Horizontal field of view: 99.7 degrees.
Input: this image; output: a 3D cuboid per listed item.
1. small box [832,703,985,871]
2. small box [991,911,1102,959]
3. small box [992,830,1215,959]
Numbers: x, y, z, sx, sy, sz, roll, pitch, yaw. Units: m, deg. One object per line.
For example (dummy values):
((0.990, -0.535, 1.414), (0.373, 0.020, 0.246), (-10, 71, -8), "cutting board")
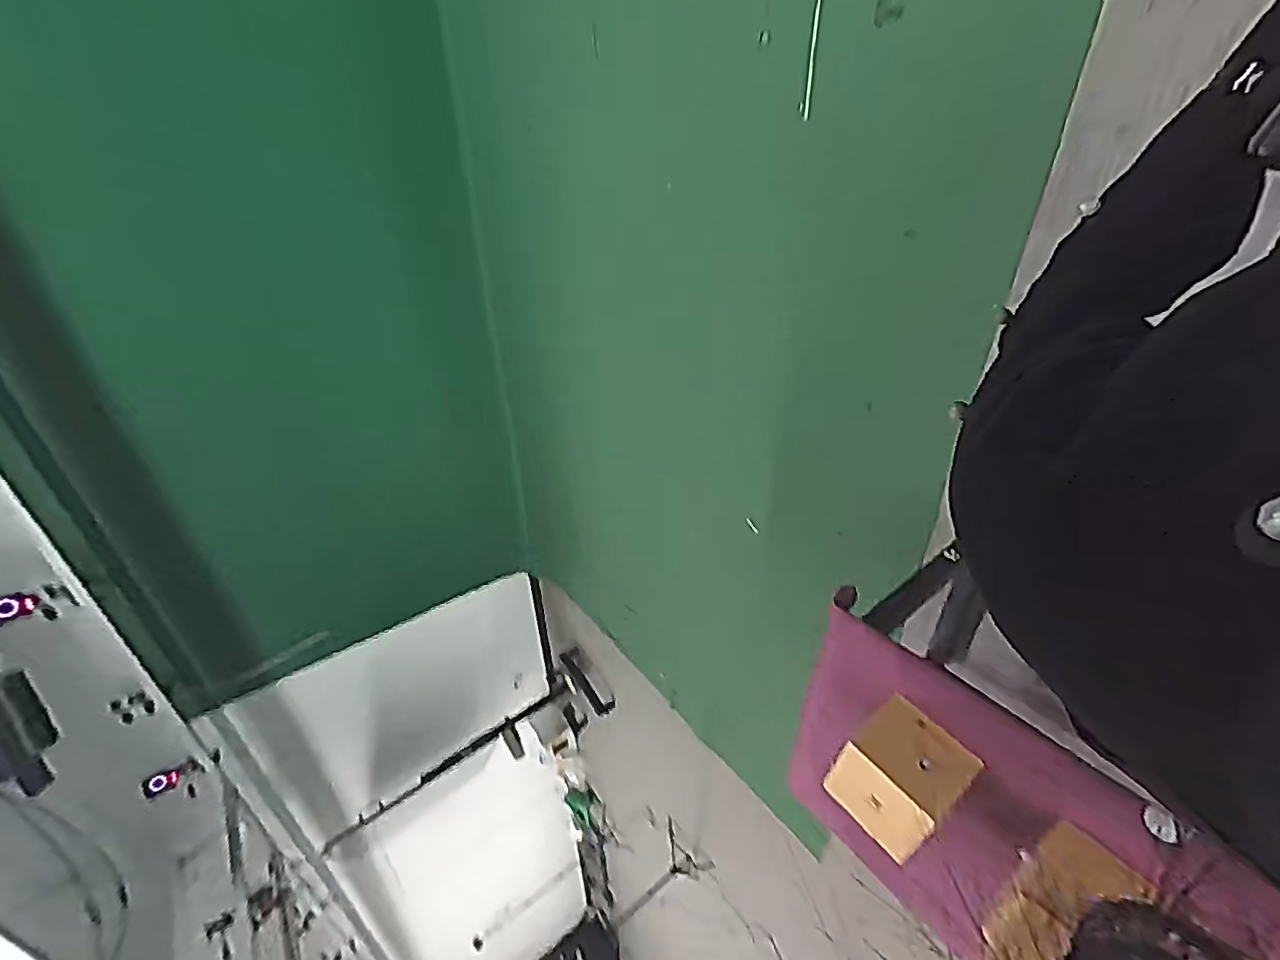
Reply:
((0.485, 0.544, 0.978), (0.168, 0.176, 0.179), (38, 139, 37), "small box")
((0.541, 0.713, 0.684), (0.179, 0.176, 0.168), (34, 136, 41), "small box")
((0.664, 0.665, 0.782), (0.179, 0.176, 0.168), (36, 138, 41), "small box")
